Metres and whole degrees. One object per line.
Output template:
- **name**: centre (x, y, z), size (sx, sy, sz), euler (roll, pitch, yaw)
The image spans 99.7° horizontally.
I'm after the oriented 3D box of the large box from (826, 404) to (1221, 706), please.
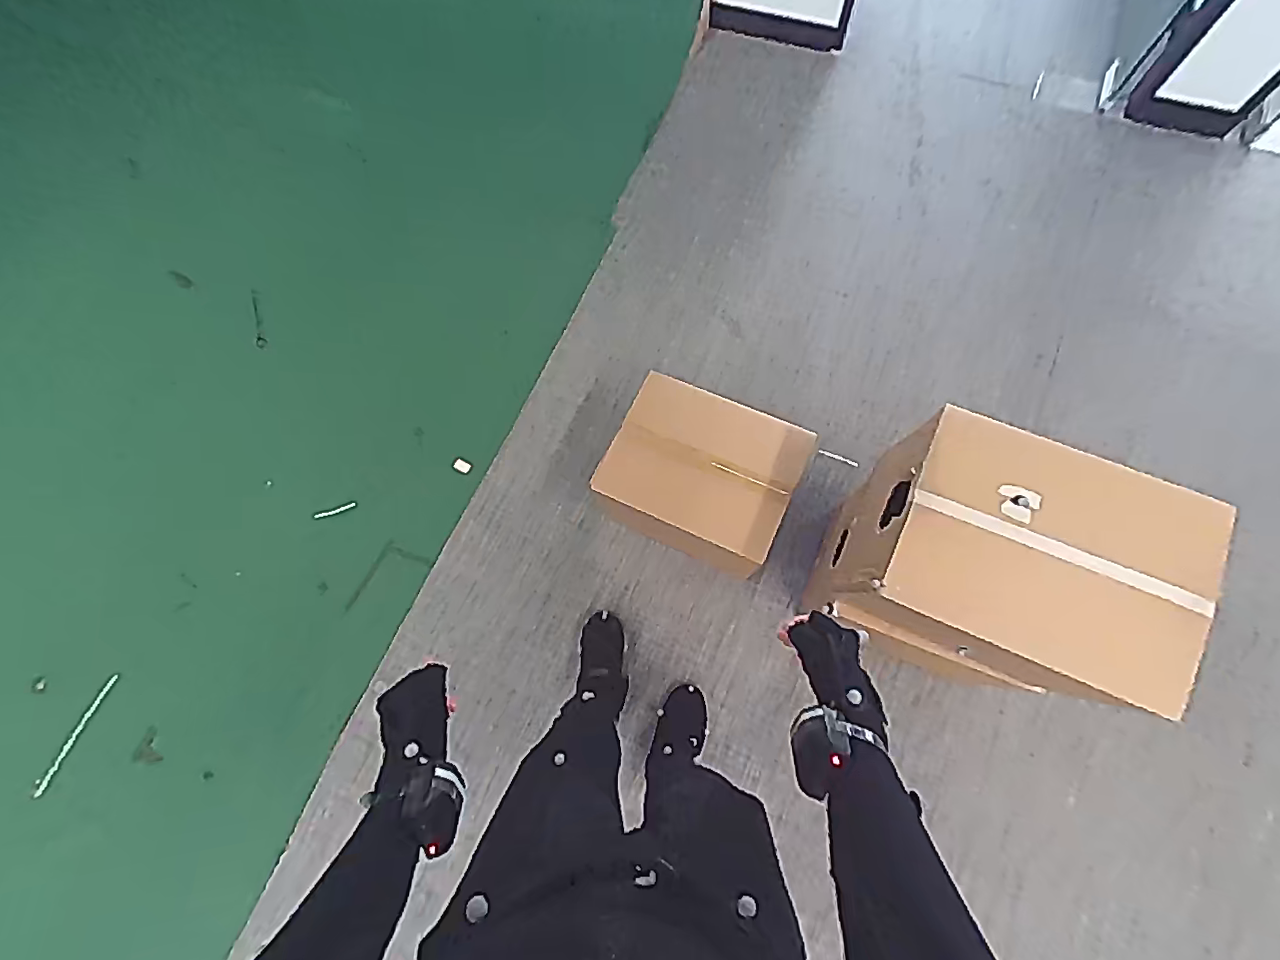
- **large box**: centre (0.585, 0.121, 0.907), size (0.408, 0.320, 0.320), euler (22, 81, 11)
